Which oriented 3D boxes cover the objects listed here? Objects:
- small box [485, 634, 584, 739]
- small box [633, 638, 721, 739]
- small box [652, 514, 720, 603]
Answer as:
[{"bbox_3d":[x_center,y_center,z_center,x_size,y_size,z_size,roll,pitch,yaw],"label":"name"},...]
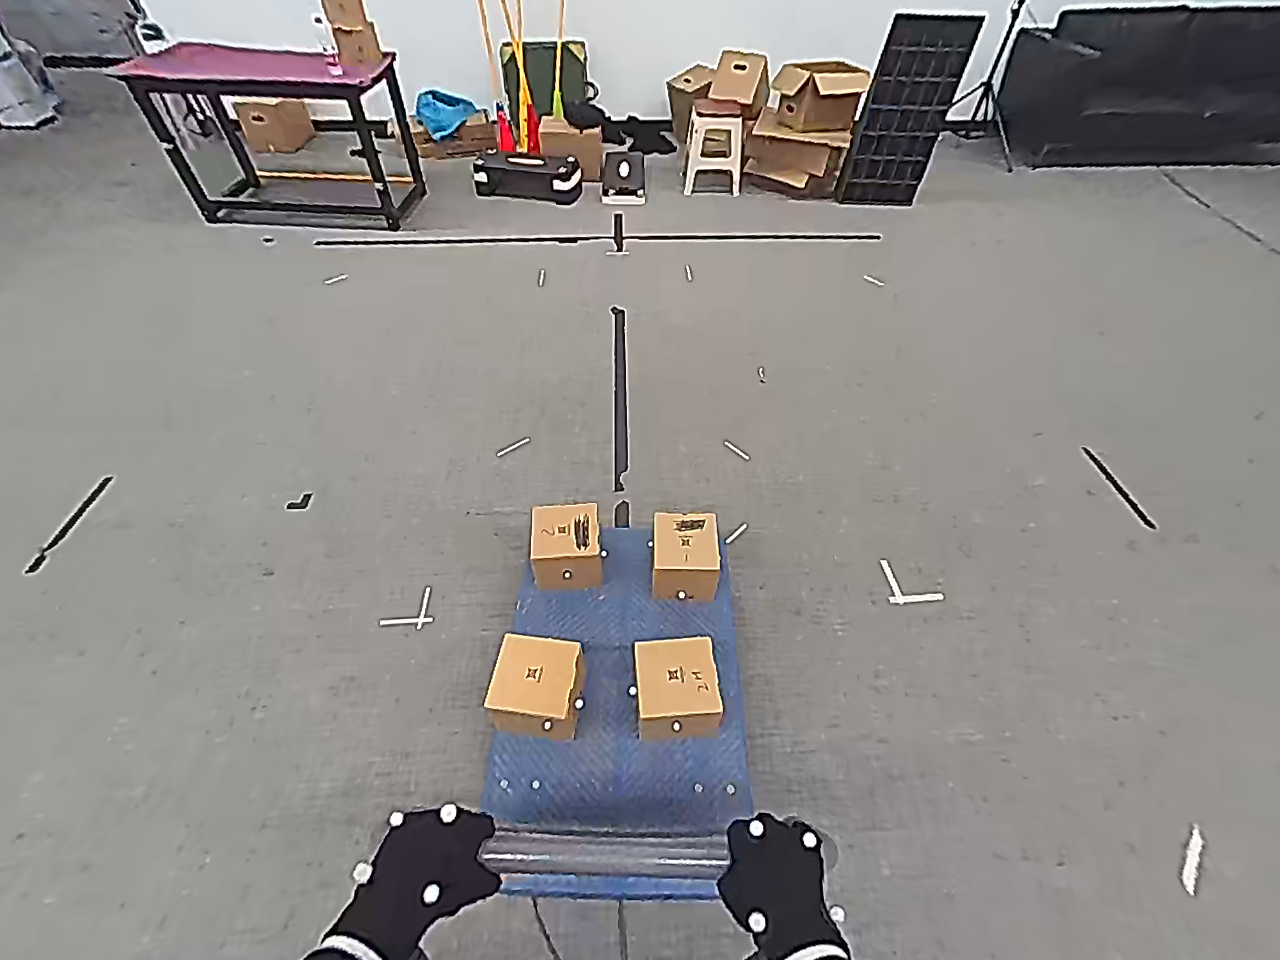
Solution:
[{"bbox_3d":[-0.229,0.471,1.228,0.179,0.176,0.168,7,49,3],"label":"small box"},{"bbox_3d":[0.078,0.477,1.227,0.179,0.176,0.168,-3,49,-3],"label":"small box"},{"bbox_3d":[0.118,0.212,1.456,0.168,0.176,0.179,1,50,0],"label":"small box"}]
